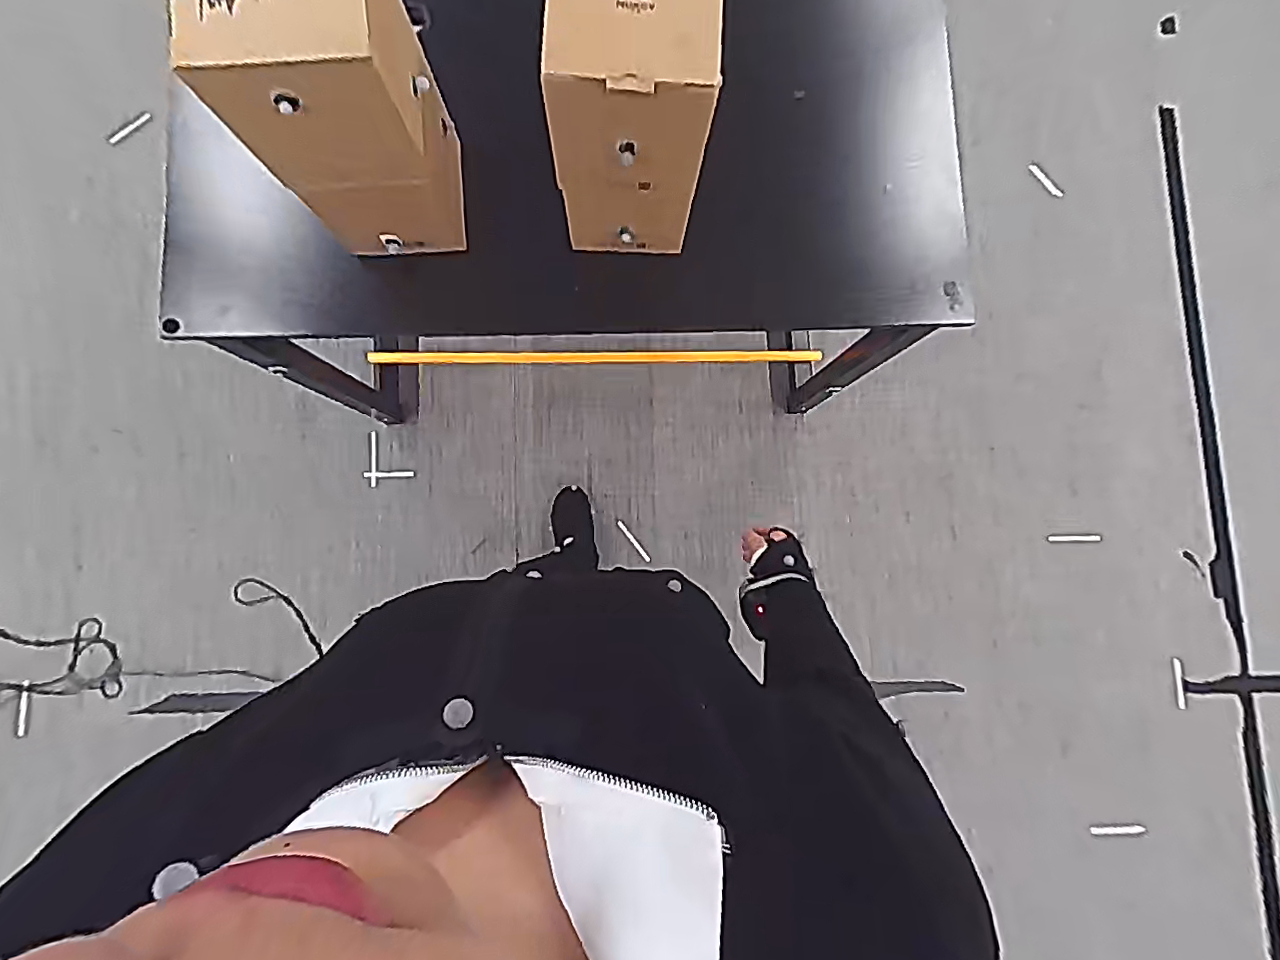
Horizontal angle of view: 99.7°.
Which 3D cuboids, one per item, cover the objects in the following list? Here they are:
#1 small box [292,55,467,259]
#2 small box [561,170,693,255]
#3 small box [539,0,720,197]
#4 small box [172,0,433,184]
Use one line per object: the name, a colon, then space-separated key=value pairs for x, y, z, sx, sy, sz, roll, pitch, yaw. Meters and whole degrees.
small box: x=-0.343 y=-0.427 z=0.732 sx=0.168 sy=0.176 sz=0.179 roll=-6 pitch=86 yaw=-2
small box: x=-0.017 y=-0.439 z=0.747 sx=0.168 sy=0.176 sz=0.179 roll=1 pitch=84 yaw=-2
small box: x=-0.009 y=-0.436 z=0.582 sx=0.168 sy=0.176 sz=0.179 roll=4 pitch=85 yaw=-2
small box: x=-0.338 y=-0.439 z=0.568 sx=0.179 sy=0.176 sz=0.168 roll=-6 pitch=85 yaw=-3
